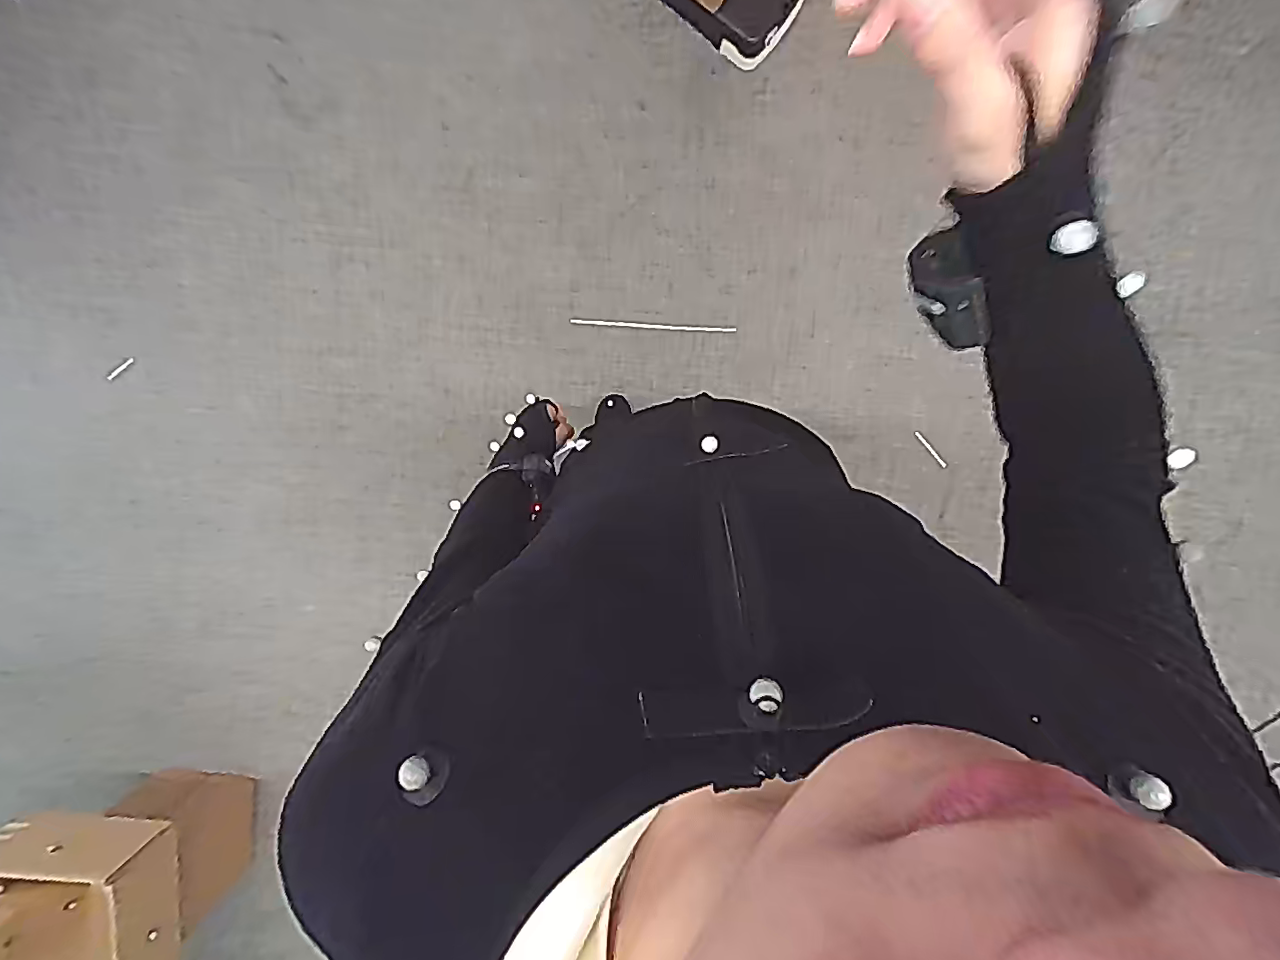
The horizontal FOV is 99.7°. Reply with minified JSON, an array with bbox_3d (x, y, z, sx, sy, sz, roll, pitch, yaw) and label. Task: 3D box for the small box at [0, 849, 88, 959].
[{"bbox_3d":[-1.447,0.993,1.248,0.179,0.176,0.168,5,96,-2],"label":"small box"}]
